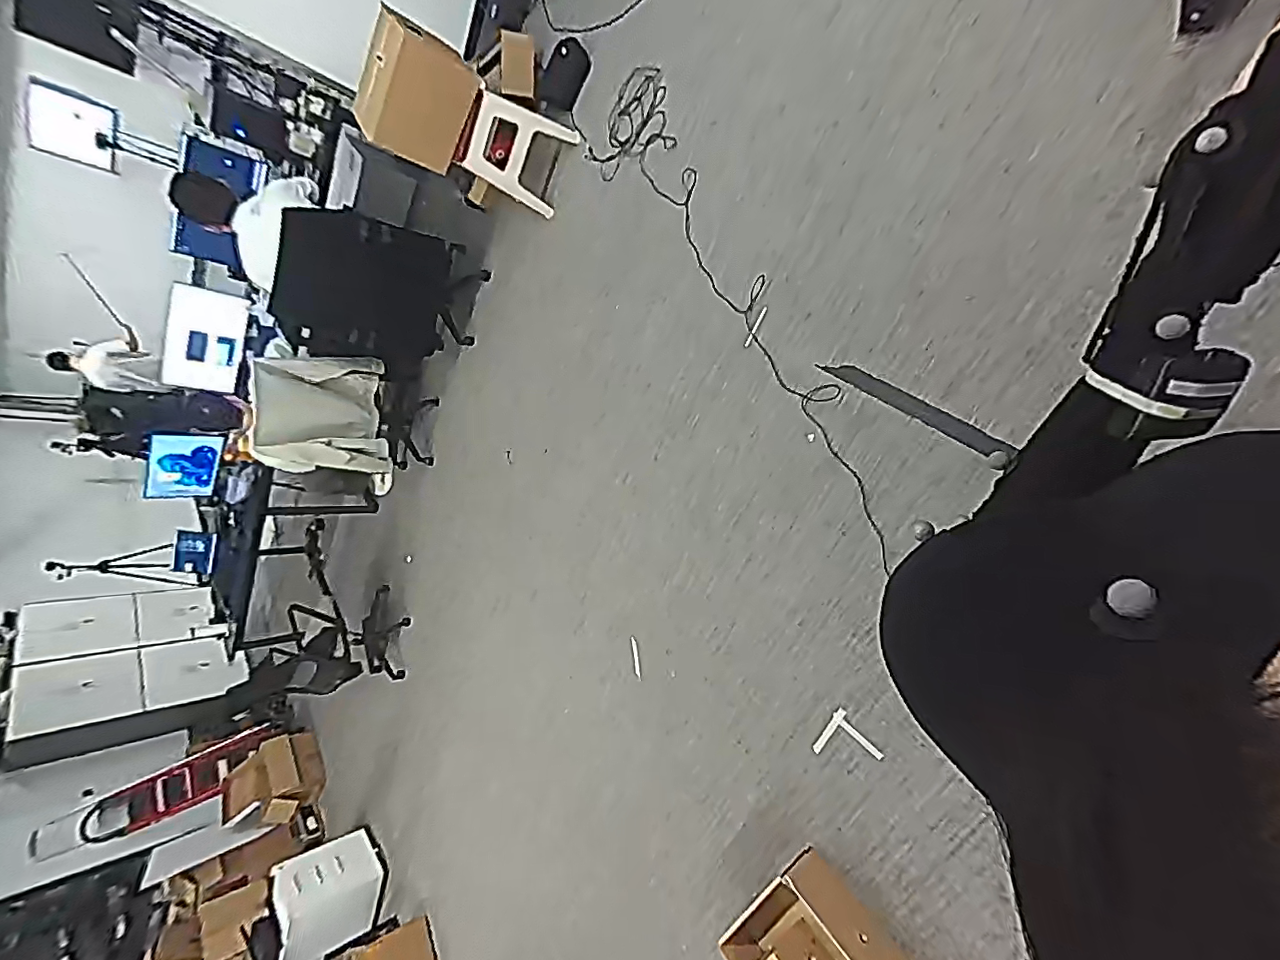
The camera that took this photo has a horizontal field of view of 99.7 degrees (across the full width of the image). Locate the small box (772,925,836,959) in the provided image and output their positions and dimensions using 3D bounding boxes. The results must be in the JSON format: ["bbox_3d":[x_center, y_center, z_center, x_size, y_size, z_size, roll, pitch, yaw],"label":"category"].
[{"bbox_3d":[0.455,1.406,1.507,0.168,0.176,0.179,43,115,32],"label":"small box"}]
